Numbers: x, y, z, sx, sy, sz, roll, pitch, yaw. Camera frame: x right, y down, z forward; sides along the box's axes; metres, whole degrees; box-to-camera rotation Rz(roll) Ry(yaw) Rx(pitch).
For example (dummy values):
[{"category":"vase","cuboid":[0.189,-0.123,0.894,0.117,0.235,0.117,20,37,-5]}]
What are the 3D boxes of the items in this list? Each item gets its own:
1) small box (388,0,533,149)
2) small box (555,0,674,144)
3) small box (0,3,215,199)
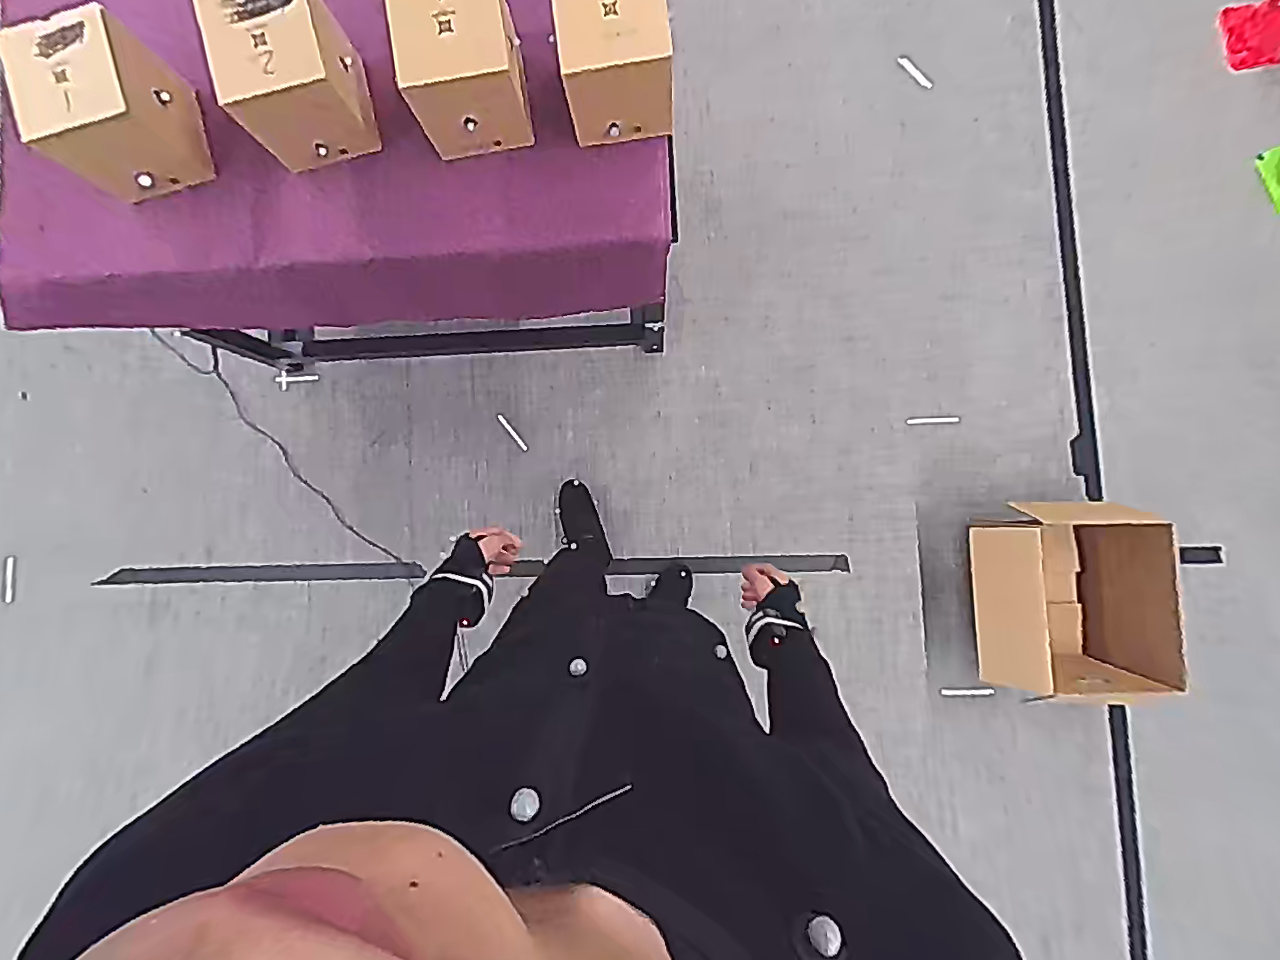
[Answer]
[{"category":"small box","cuboid":[-0.276,-0.660,0.861,0.168,0.176,0.179,-9,87,1]},{"category":"small box","cuboid":[-0.037,-0.675,0.853,0.168,0.176,0.179,-7,87,3]},{"category":"small box","cuboid":[-0.846,-0.599,0.876,0.168,0.176,0.179,-16,88,1]}]
